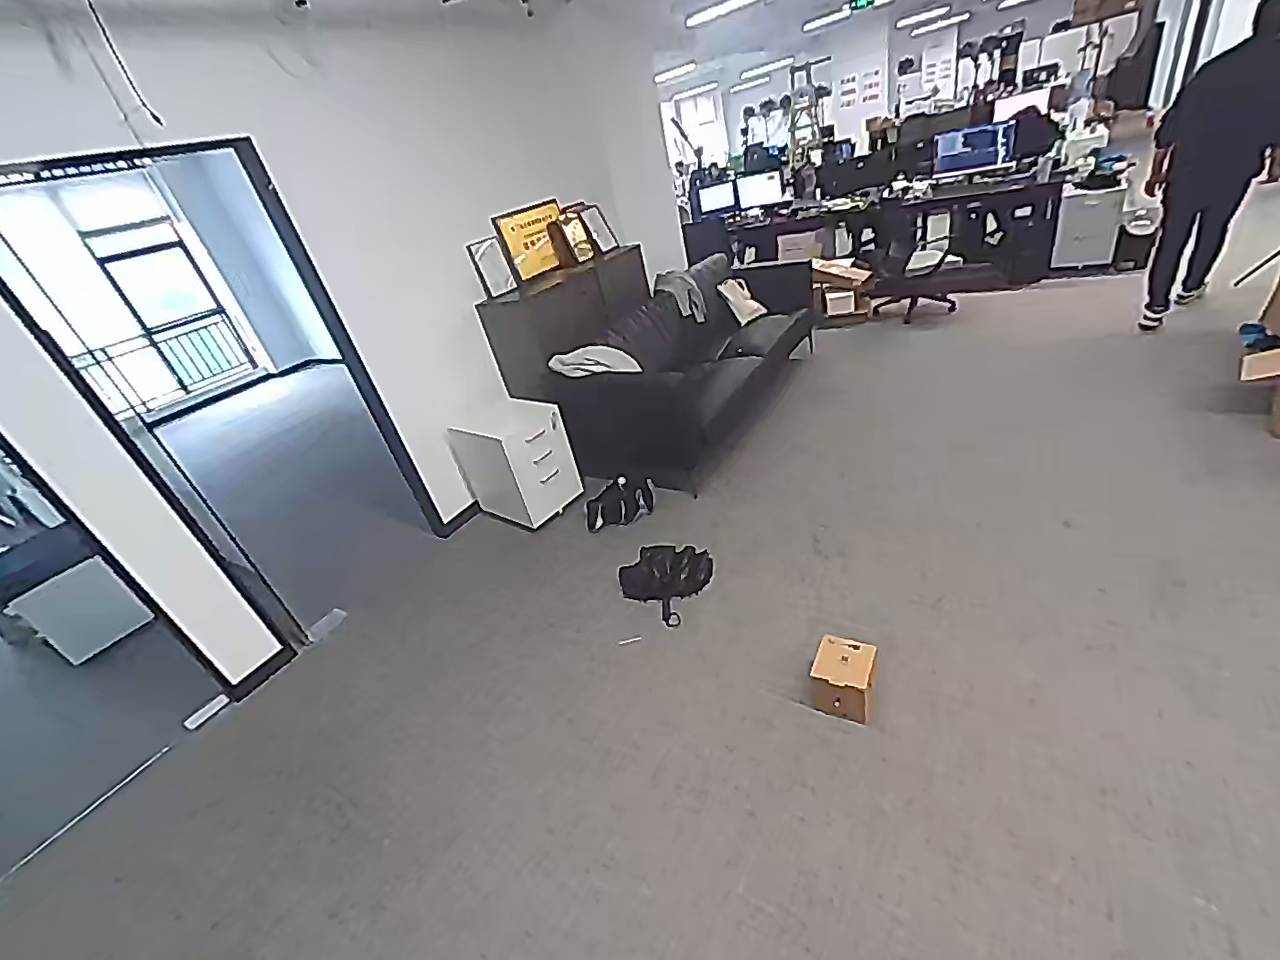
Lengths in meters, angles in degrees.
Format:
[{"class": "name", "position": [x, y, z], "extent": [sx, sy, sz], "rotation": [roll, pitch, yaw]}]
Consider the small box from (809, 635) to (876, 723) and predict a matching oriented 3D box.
[{"class": "small box", "position": [0.647, 0.631, 1.710], "extent": [0.168, 0.176, 0.179], "rotation": [7, 36, 32]}]
